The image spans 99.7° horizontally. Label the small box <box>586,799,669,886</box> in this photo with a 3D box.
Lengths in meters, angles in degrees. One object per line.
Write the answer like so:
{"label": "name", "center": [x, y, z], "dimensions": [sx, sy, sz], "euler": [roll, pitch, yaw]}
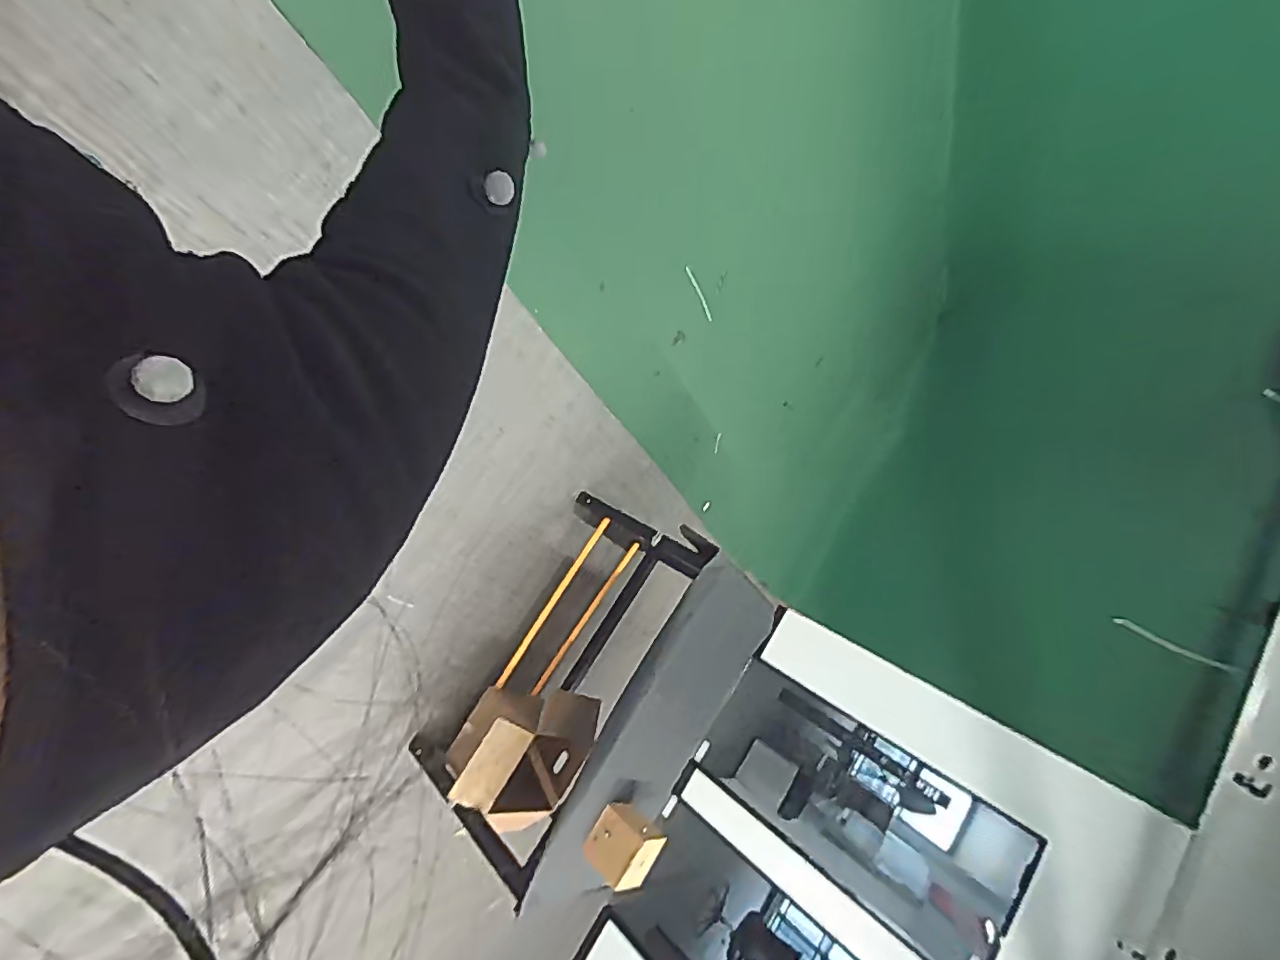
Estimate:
{"label": "small box", "center": [-0.042, 1.175, 1.767], "dimensions": [0.168, 0.176, 0.179], "euler": [-56, 142, -10]}
